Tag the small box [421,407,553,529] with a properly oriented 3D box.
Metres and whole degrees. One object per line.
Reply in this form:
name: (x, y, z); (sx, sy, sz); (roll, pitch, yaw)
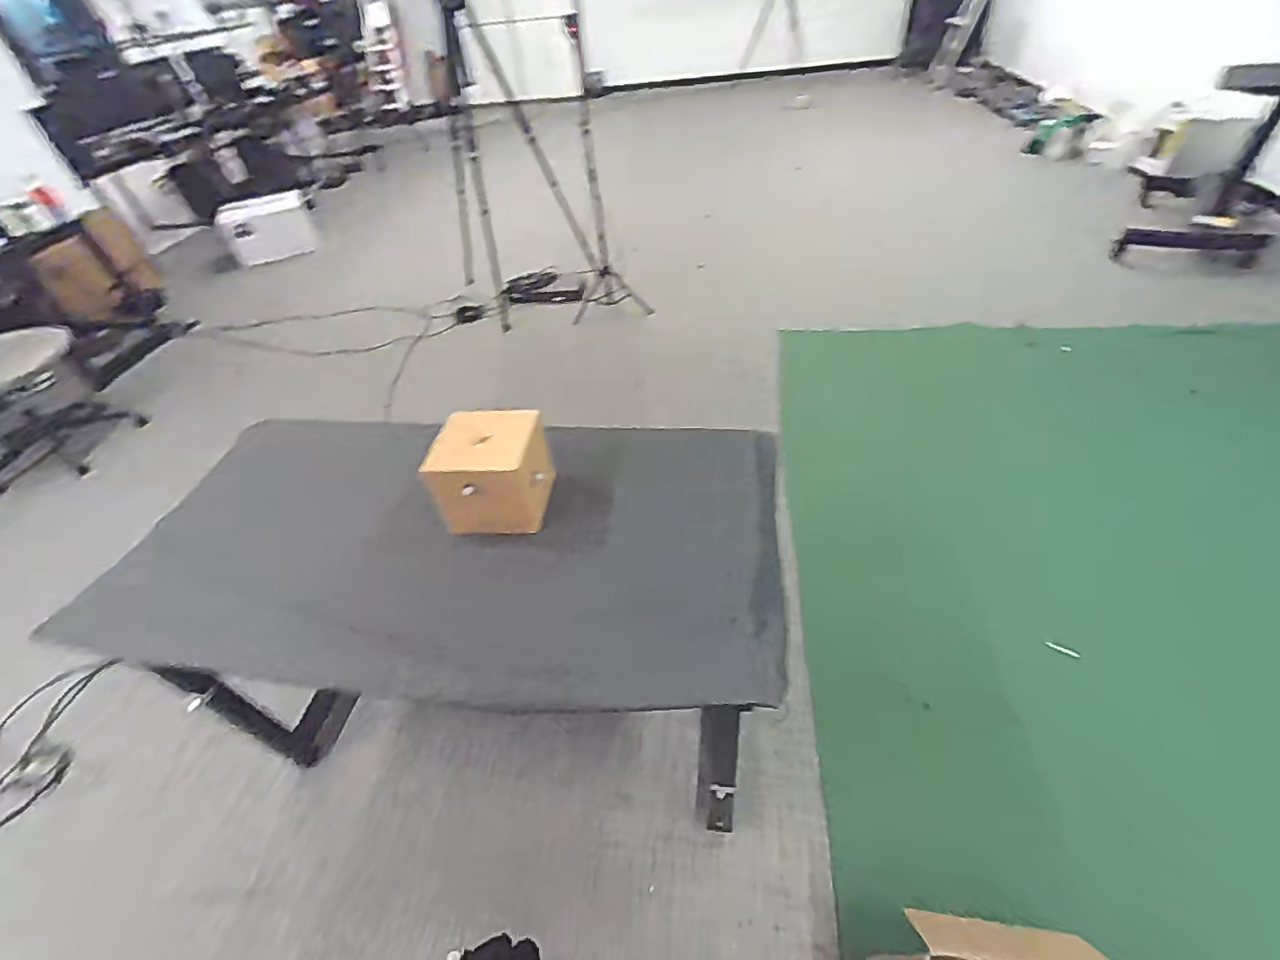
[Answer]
small box: (-0.274, -0.020, 1.023); (0.179, 0.176, 0.168); (-1, 45, 8)
